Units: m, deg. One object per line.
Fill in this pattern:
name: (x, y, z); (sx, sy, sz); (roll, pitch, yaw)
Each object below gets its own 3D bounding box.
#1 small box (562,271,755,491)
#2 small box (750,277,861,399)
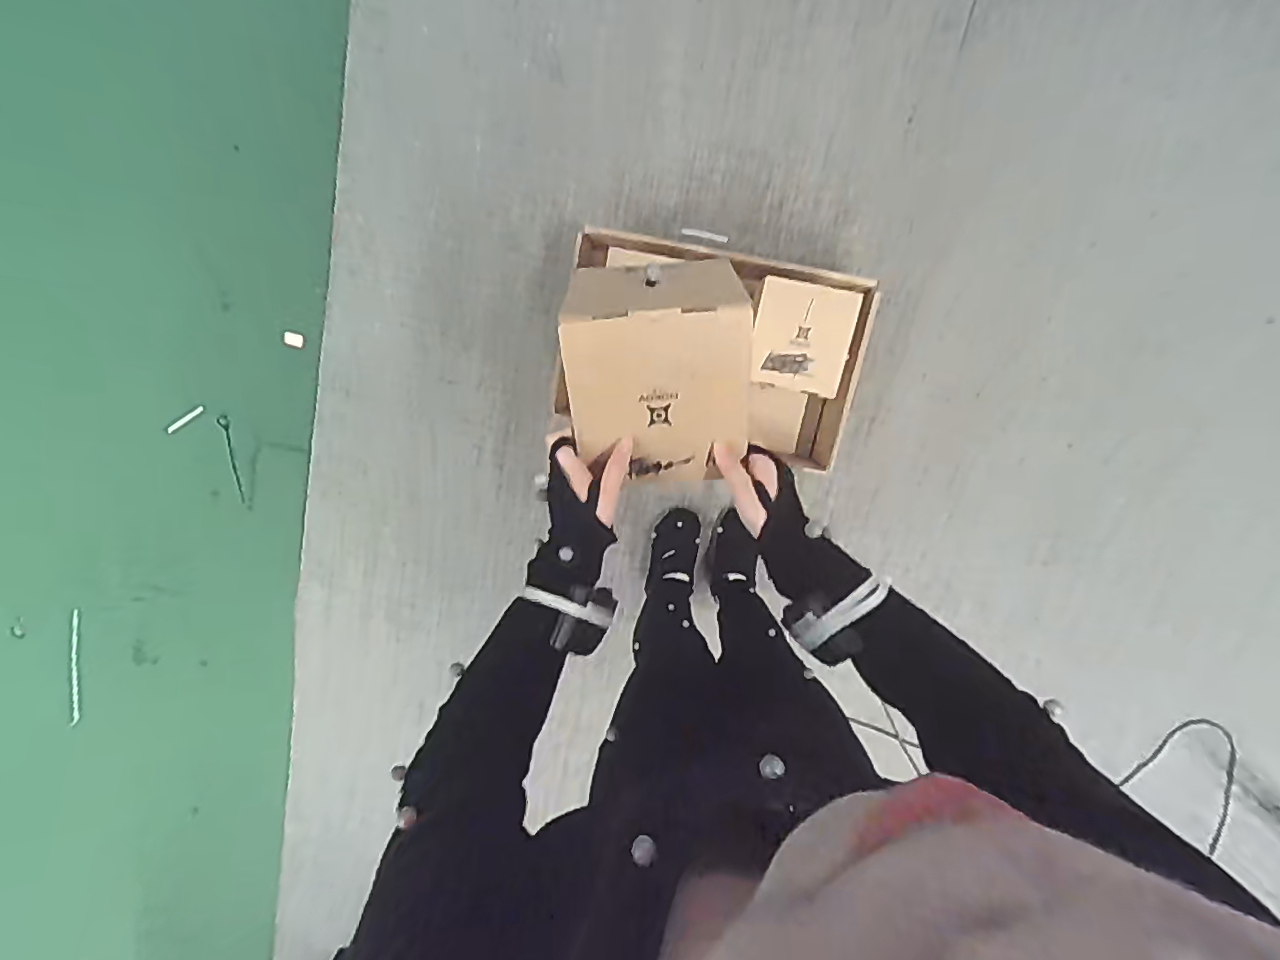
small box: (0.017, -0.109, 0.559); (0.168, 0.176, 0.179); (-3, 125, 2)
small box: (0.278, -0.253, 0.990); (0.168, 0.176, 0.179); (12, 102, 2)
